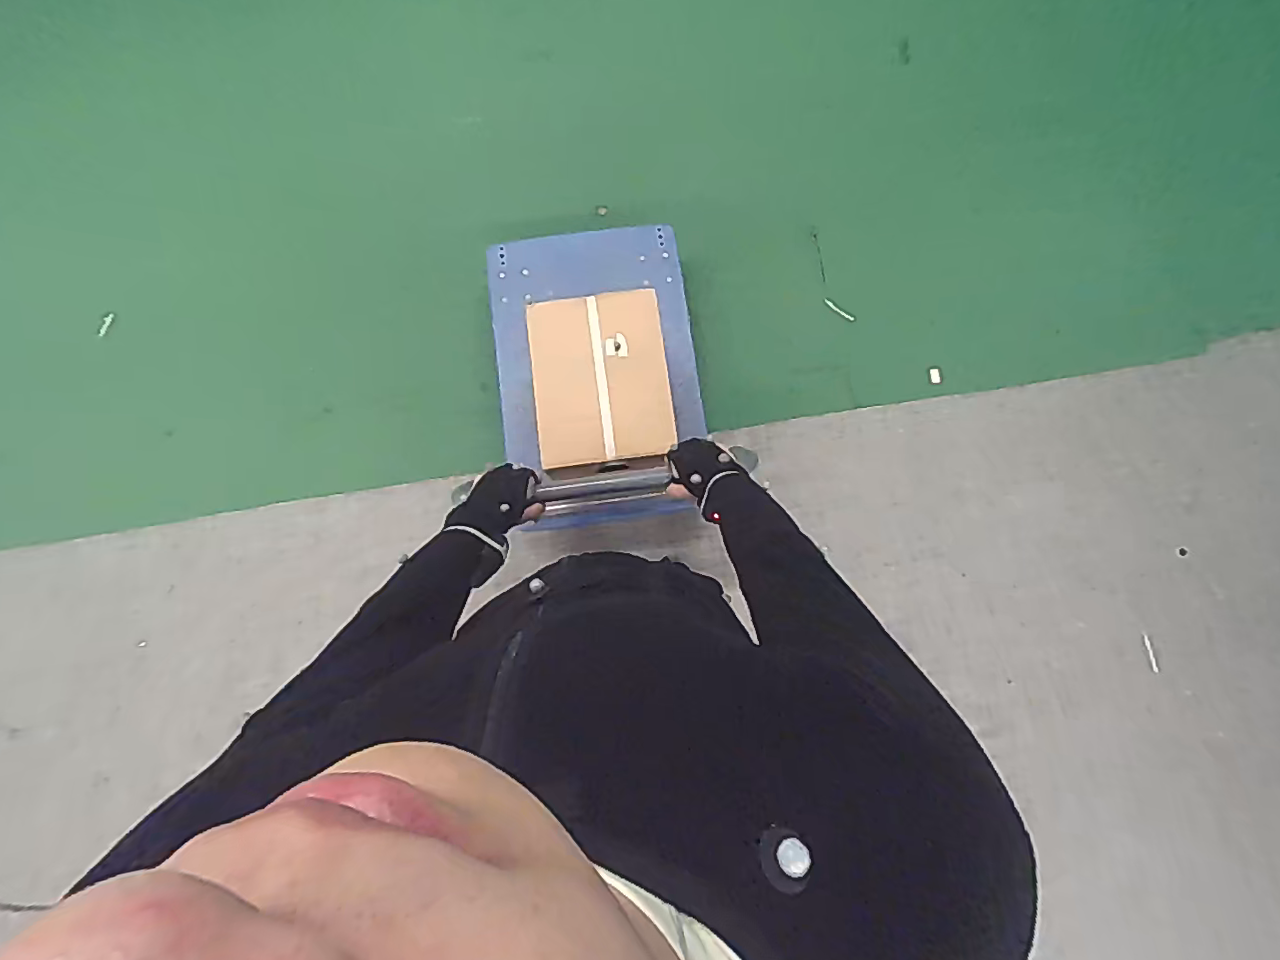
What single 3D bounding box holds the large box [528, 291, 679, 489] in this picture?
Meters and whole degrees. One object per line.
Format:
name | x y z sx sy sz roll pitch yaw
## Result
large box | -0.087 -0.213 1.403 0.320 0.320 0.408 -7 80 -1
